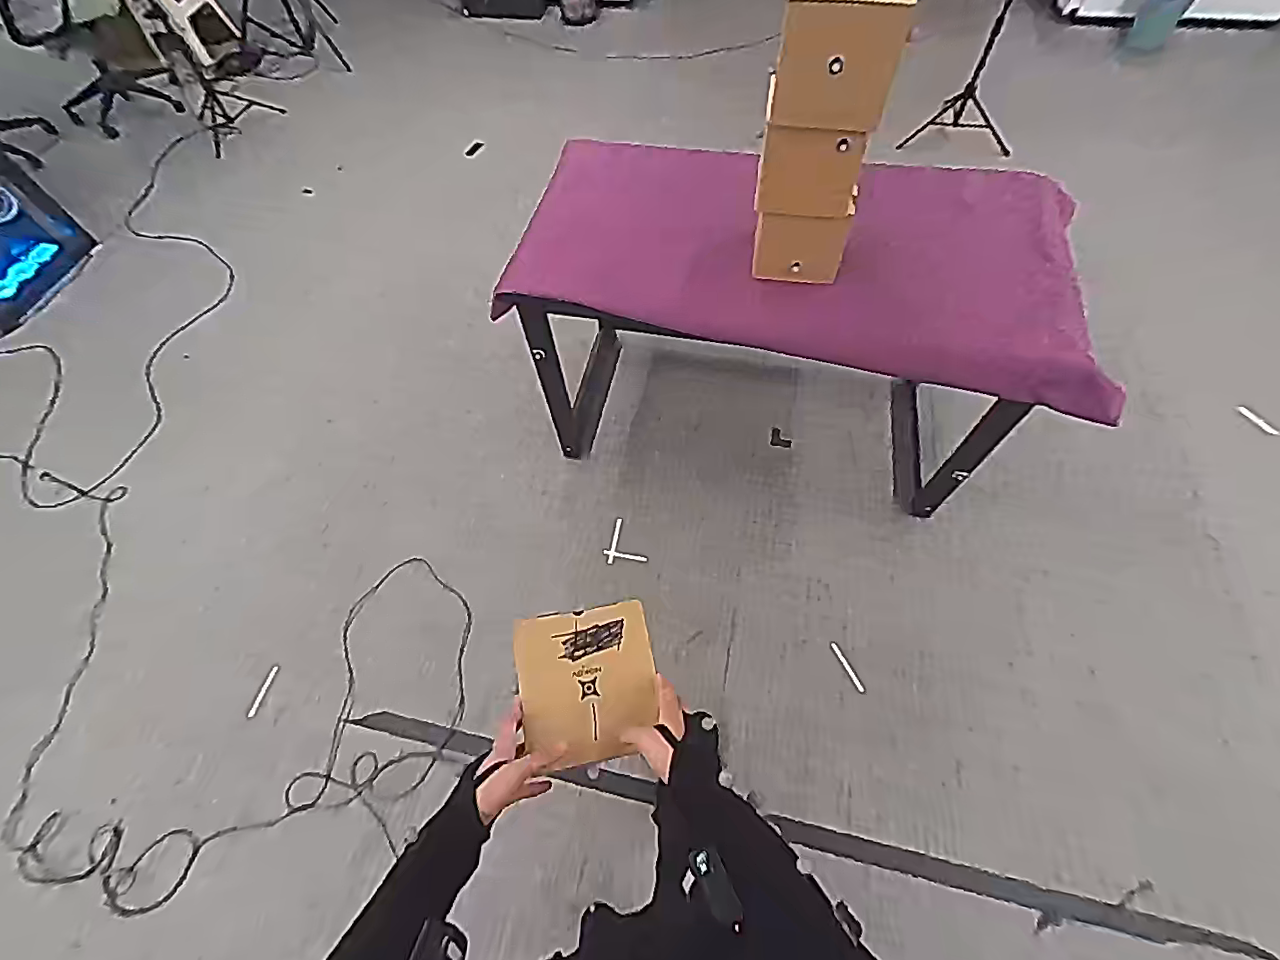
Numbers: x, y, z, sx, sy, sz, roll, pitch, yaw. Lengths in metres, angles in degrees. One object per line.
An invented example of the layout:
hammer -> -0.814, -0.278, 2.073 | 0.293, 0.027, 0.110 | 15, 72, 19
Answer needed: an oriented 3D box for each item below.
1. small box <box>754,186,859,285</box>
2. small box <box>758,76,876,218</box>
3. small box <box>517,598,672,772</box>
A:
small box -> 0.347, -0.535, 1.141 | 0.179, 0.176, 0.168 | 7, 60, 7
small box -> 0.318, -0.610, 0.998 | 0.179, 0.176, 0.168 | 7, 61, 7
small box -> -0.068, 0.274, 0.715 | 0.168, 0.176, 0.179 | -7, 64, -11
